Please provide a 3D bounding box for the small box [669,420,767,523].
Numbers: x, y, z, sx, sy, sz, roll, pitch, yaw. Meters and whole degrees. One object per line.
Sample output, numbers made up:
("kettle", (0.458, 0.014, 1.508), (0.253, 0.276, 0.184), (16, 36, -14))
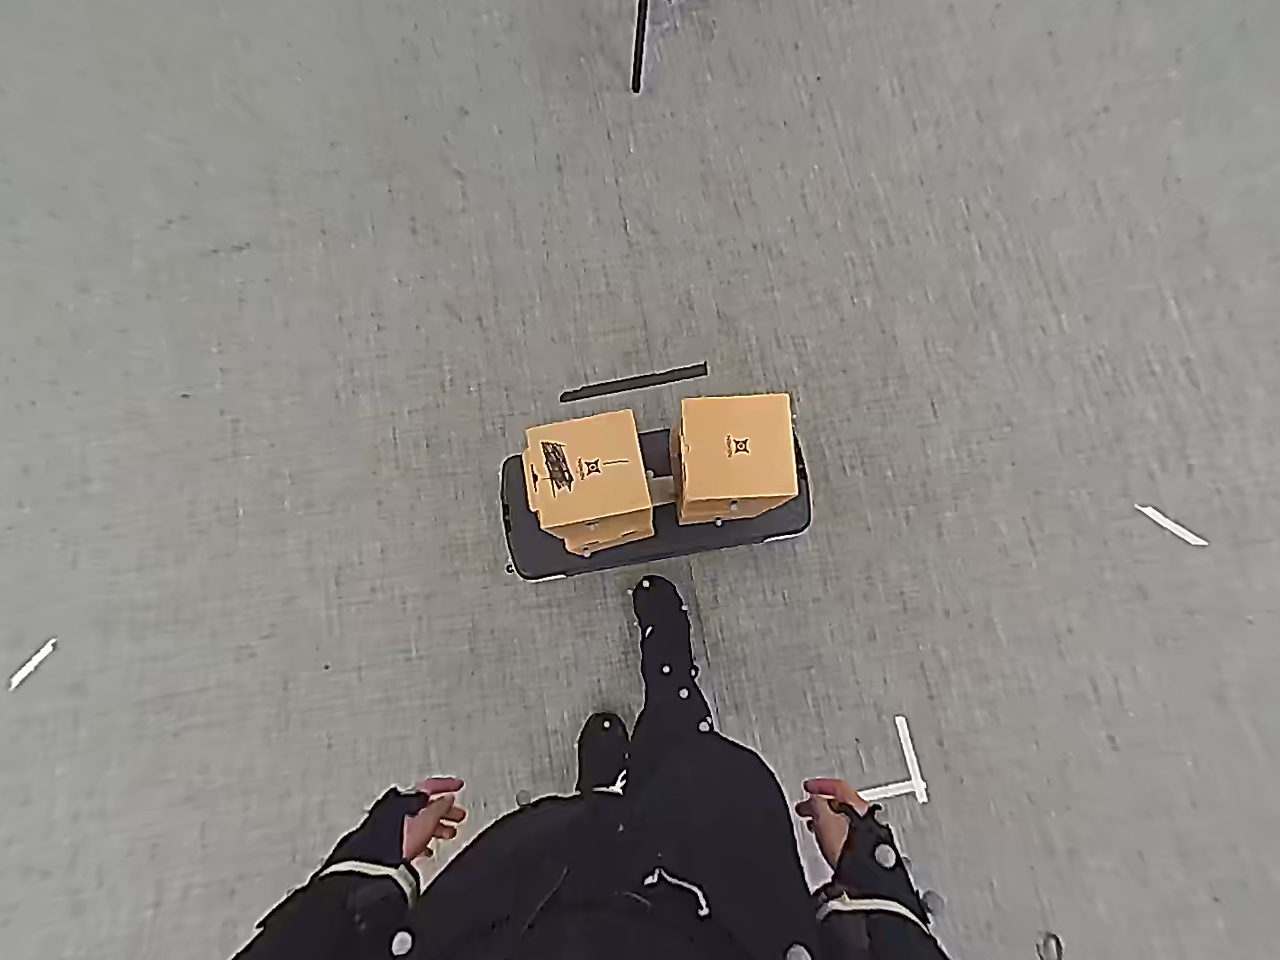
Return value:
("small box", (0.149, -0.008, 1.082), (0.168, 0.176, 0.179), (-6, 80, 1))
